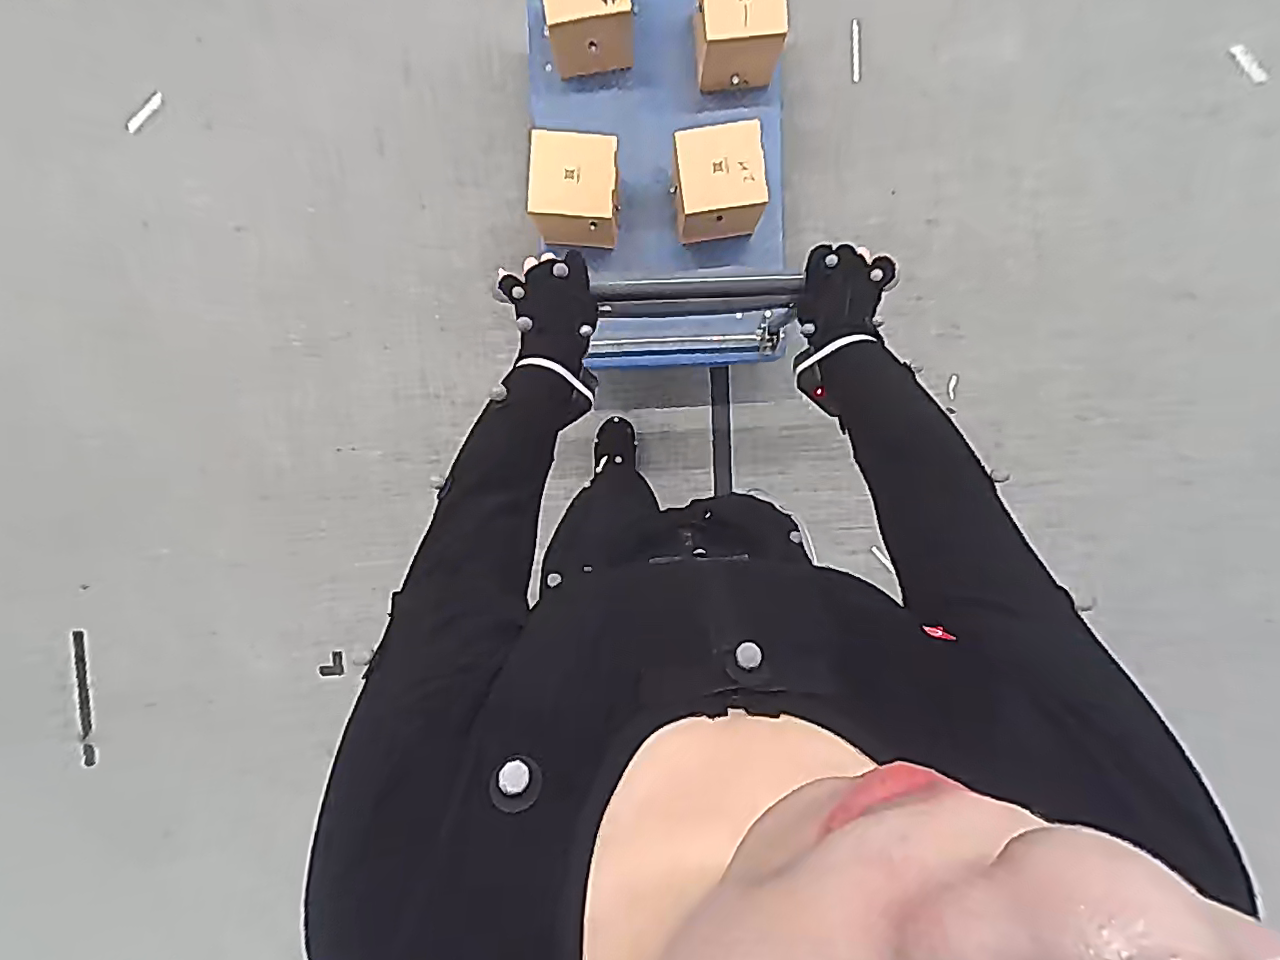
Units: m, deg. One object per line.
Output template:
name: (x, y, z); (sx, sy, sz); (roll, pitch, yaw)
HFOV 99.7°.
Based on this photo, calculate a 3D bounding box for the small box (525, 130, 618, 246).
small box: (-0.143, -0.624, 1.173); (0.179, 0.176, 0.168); (4, 94, -1)

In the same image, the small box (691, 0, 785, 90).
small box: (0.201, -0.974, 1.144); (0.168, 0.176, 0.179); (-5, 95, 1)

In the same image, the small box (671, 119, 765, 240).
small box: (0.161, -0.638, 1.169); (0.179, 0.176, 0.168); (-8, 94, 1)
